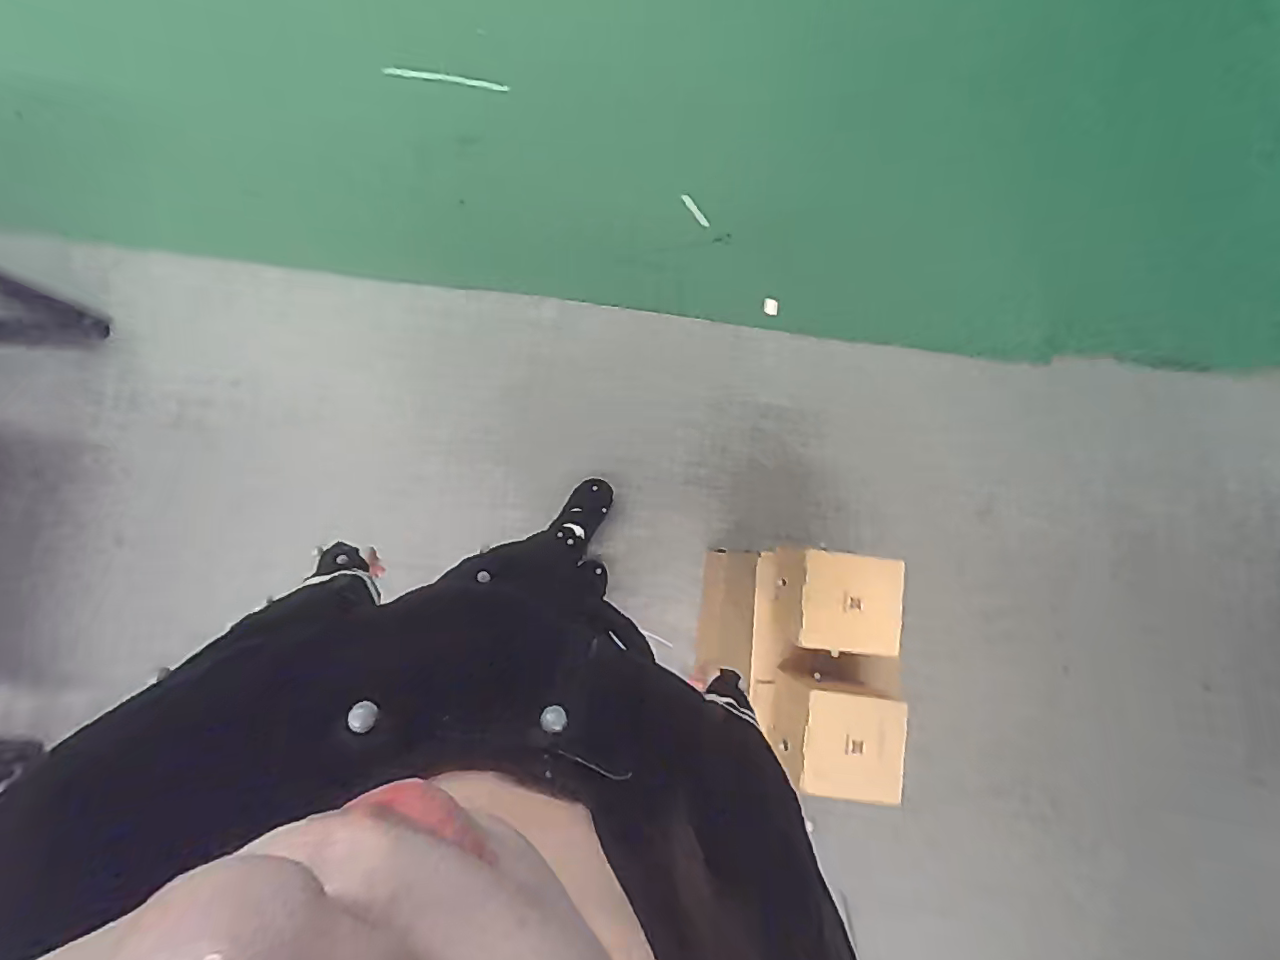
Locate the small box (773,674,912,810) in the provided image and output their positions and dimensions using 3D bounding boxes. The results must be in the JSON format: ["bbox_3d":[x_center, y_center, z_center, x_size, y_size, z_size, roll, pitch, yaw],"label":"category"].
[{"bbox_3d":[0.353,0.457,0.969,0.179,0.176,0.168,10,82,-4],"label":"small box"}]

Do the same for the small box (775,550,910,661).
[{"bbox_3d":[0.366,0.222,0.999,0.179,0.176,0.168,7,85,-1],"label":"small box"}]
